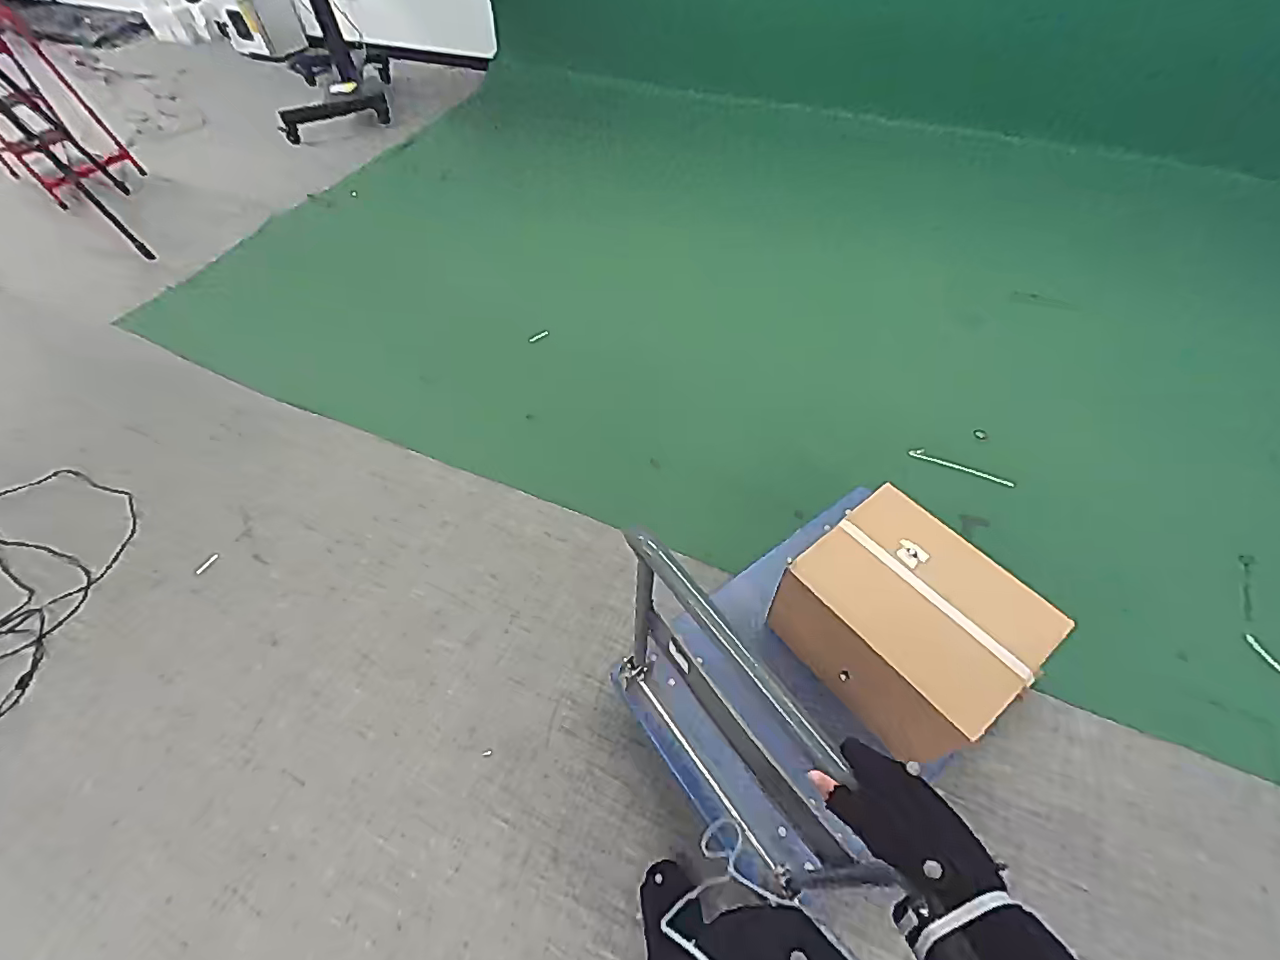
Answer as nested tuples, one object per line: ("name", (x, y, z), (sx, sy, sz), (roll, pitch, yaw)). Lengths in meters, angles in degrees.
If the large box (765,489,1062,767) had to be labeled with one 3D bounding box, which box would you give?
("large box", (0.523, 0.304, 1.126), (0.320, 0.320, 0.408), (-33, 58, -19))
